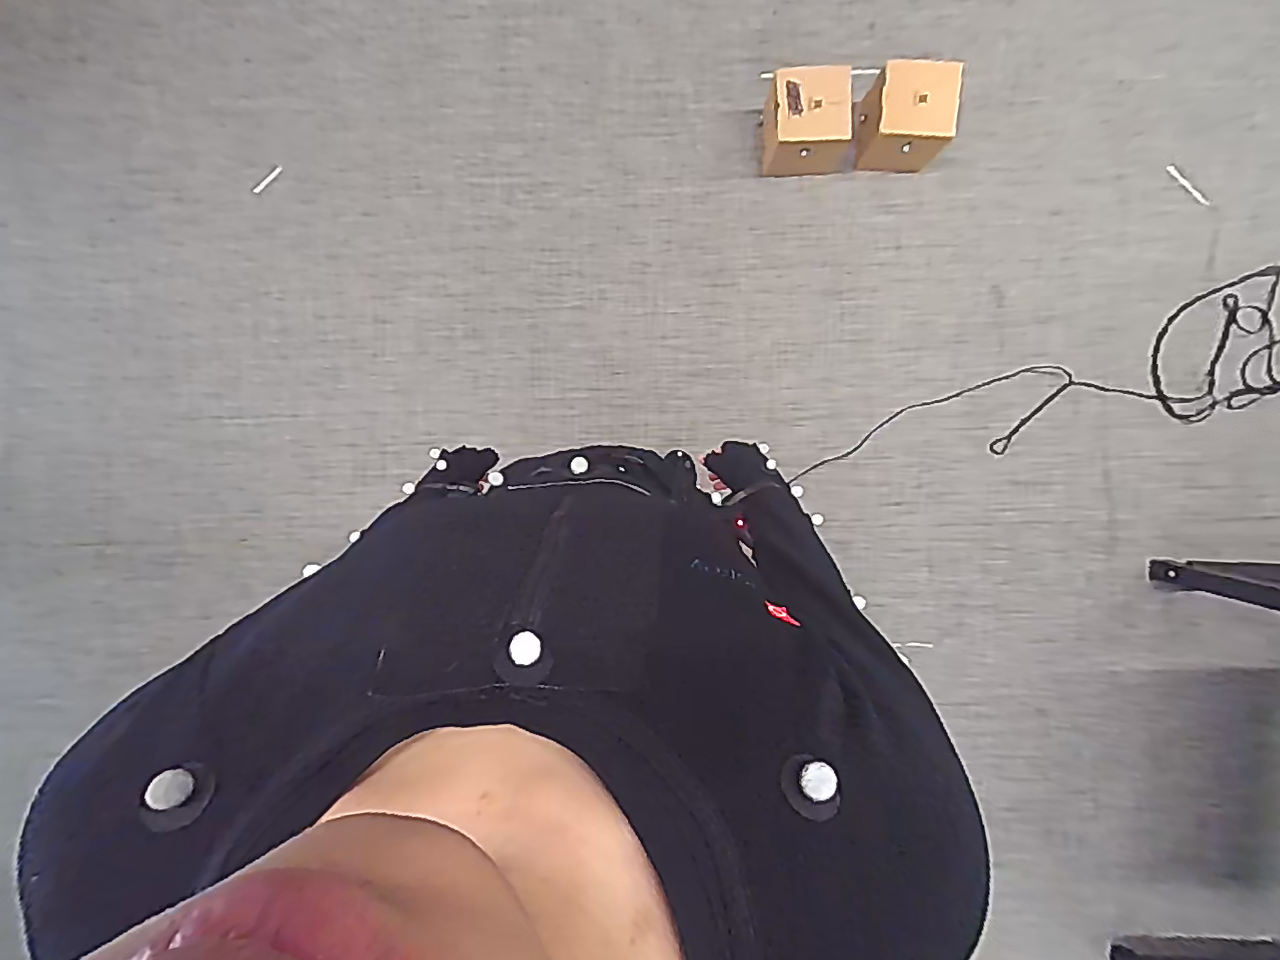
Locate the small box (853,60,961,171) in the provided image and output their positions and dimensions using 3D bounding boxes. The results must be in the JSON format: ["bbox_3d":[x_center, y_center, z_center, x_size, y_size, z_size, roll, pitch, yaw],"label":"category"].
[{"bbox_3d":[0.645,-0.881,1.321,0.179,0.176,0.168,4,94,2],"label":"small box"}]

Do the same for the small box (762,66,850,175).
[{"bbox_3d":[0.399,-0.871,1.326,0.179,0.176,0.168,-2,94,1],"label":"small box"}]
